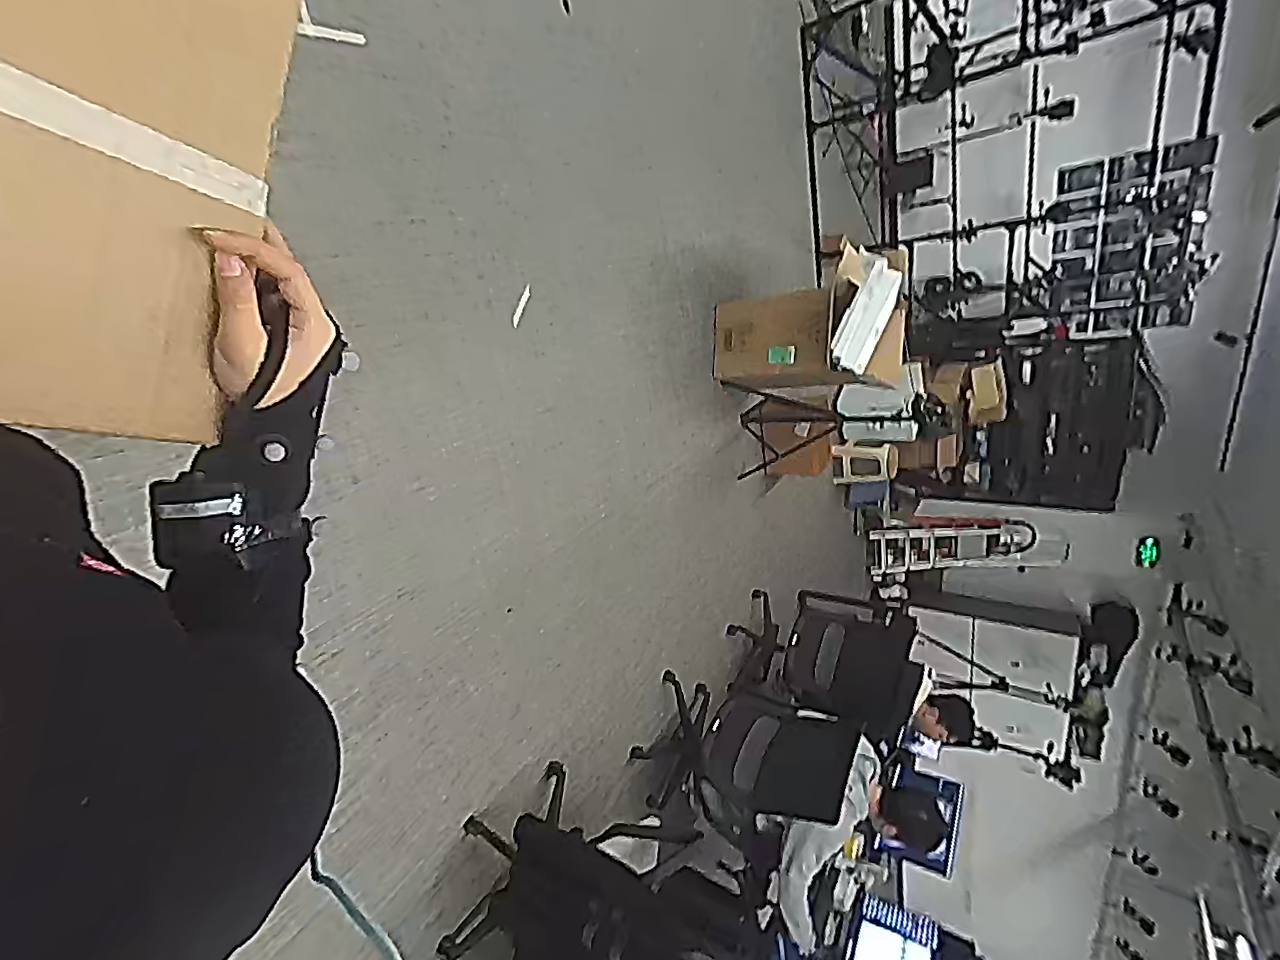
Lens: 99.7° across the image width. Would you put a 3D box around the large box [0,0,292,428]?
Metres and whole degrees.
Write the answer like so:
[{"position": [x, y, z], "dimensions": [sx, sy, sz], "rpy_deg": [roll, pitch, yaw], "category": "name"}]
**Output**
[{"position": [-0.473, -0.225, 0.267], "dimensions": [0.408, 0.320, 0.320], "rpy_deg": [5, 101, -55], "category": "large box"}]
